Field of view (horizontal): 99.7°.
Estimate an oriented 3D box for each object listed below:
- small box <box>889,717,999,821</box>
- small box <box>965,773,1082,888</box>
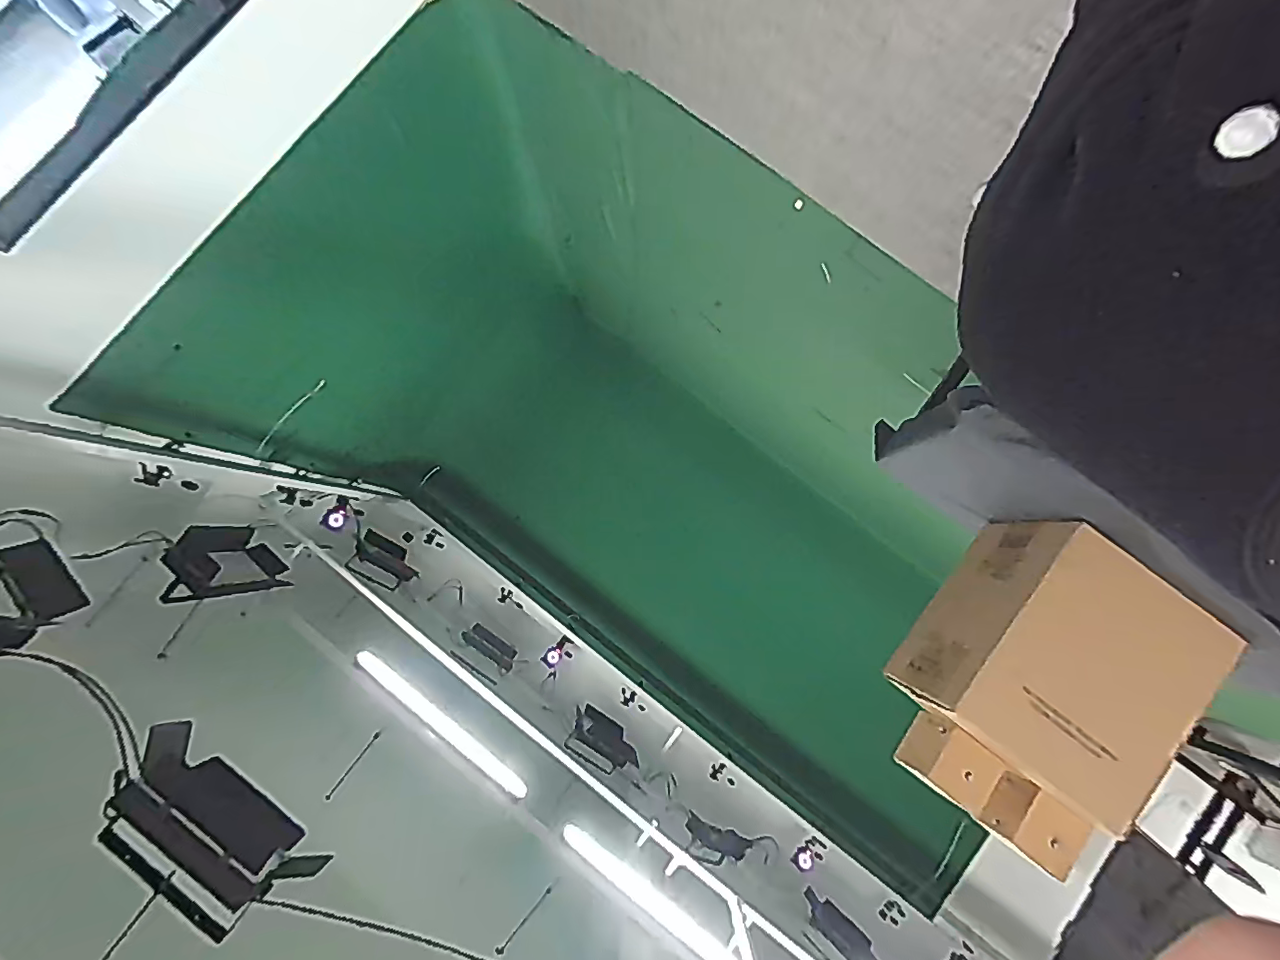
[{"bbox_3d":[0.860,0.808,1.536,0.179,0.176,0.168,37,169,2],"label":"small box"},{"bbox_3d":[1.065,0.962,1.502,0.179,0.176,0.168,38,169,2],"label":"small box"}]
